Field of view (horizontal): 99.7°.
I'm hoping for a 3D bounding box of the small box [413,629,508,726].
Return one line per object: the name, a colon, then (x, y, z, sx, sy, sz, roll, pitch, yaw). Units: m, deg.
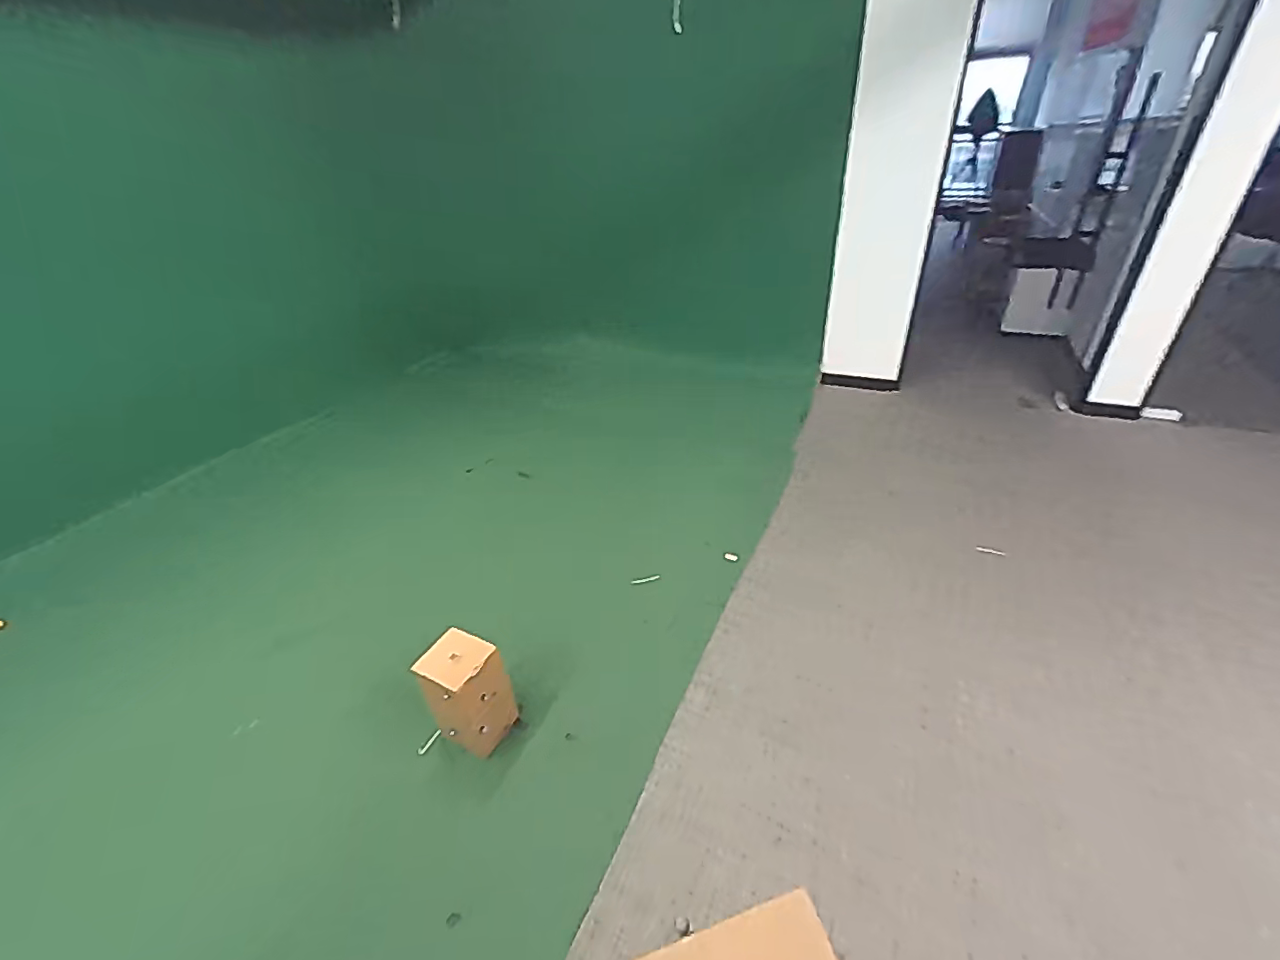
small box: (-0.505, 0.564, 1.543, 0.179, 0.176, 0.168, 13, 37, 25)
